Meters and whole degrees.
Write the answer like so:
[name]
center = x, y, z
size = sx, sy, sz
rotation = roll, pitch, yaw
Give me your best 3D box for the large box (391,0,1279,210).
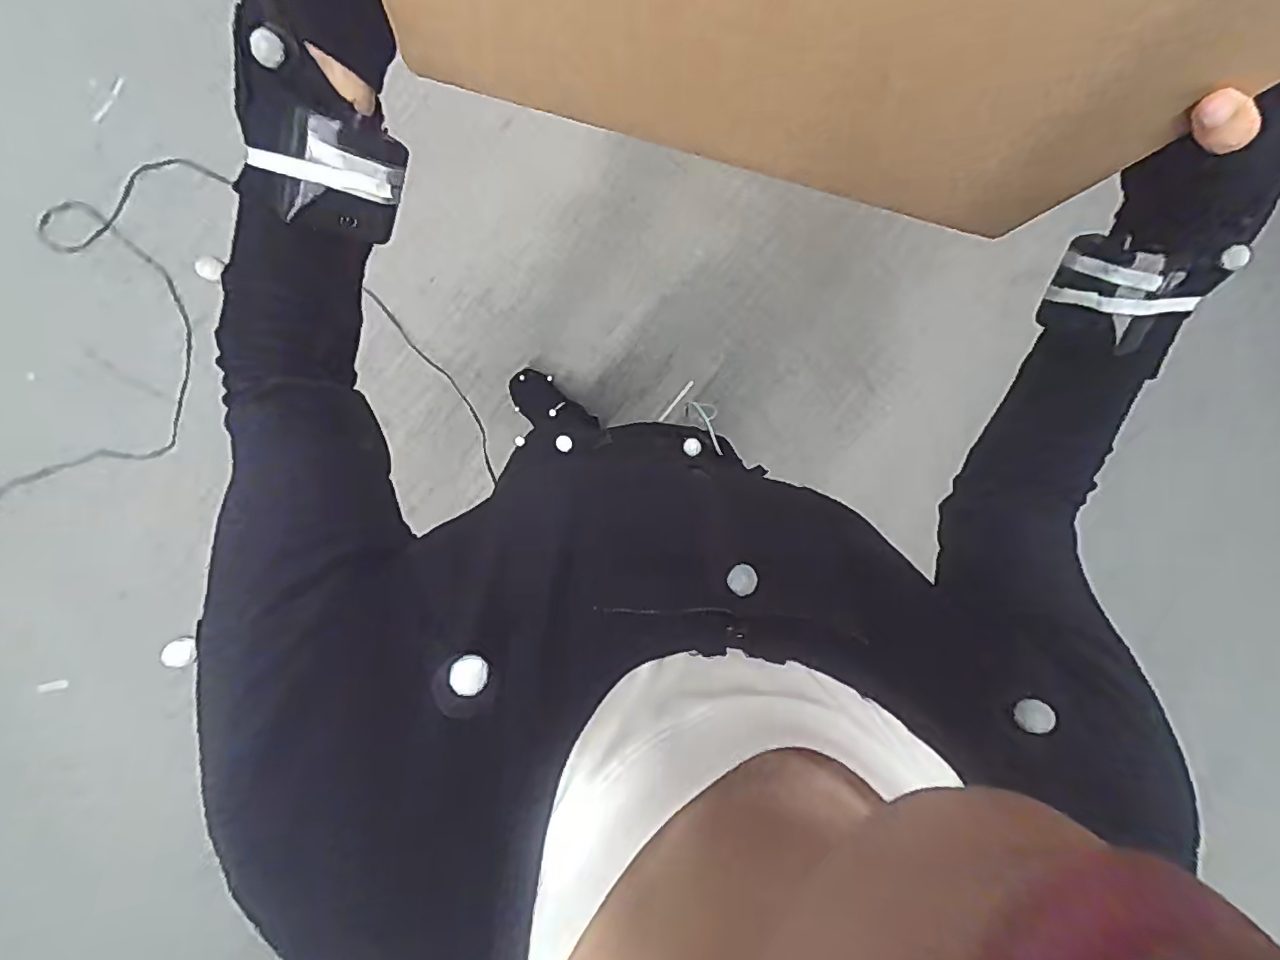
[large box]
center = 0.101, -0.366, 0.208
size = 0.408, 0.320, 0.320
rotation = 10, 89, -9
